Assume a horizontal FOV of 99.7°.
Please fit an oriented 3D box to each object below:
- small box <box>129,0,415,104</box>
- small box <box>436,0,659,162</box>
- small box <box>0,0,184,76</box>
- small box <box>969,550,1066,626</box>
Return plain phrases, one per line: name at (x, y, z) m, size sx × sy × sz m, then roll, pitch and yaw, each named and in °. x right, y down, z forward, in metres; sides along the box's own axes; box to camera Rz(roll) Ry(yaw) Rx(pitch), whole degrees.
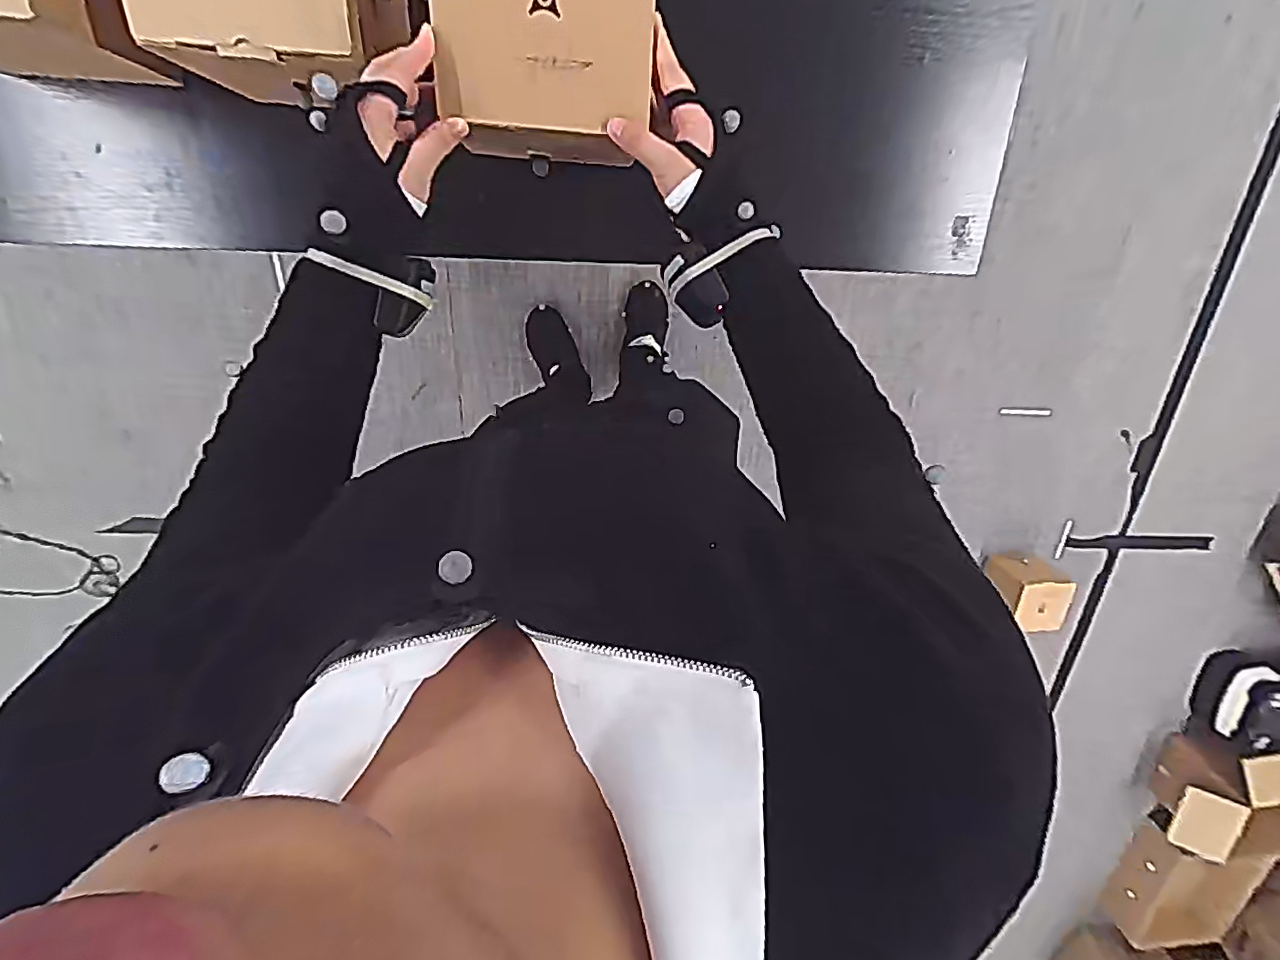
small box at (-0.306, -0.448, 0.466) m, size 0.168 × 0.176 × 0.179 m, roll 2°, pitch 113°, yaw -5°
small box at (-0.075, -0.392, 0.469) m, size 0.168 × 0.176 × 0.179 m, roll 0°, pitch 114°, yaw -6°
small box at (-0.537, -0.456, 0.440) m, size 0.179 × 0.176 × 0.168 m, roll 0°, pitch 113°, yaw -6°
small box at (1.187, 0.341, 1.718) m, size 0.168 × 0.176 × 0.179 m, roll 0°, pitch 113°, yaw -5°
